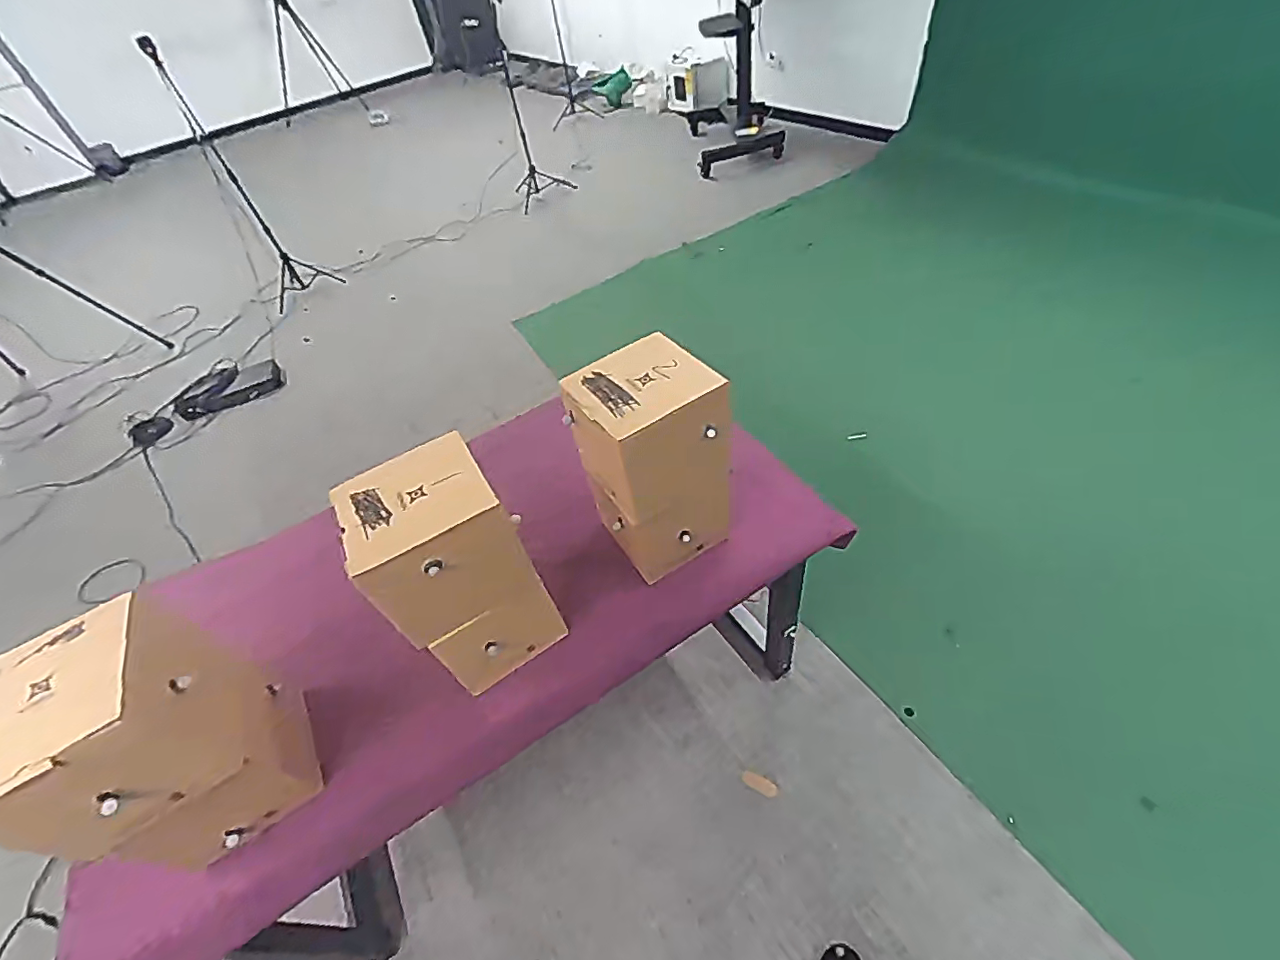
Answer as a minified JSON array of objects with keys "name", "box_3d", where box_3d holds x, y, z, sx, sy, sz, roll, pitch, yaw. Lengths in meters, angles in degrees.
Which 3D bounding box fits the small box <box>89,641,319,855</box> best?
[{"name":"small box","box_3d":[-0.566,0.358,0.721,0.168,0.176,0.179,-31,51,-16]}]

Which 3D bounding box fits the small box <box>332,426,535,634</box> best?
[{"name":"small box","box_3d":[-0.263,0.066,0.704,0.179,0.176,0.168,-28,48,-15]}]

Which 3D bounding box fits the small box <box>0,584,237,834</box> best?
[{"name":"small box","box_3d":[-0.582,0.255,0.594,0.168,0.176,0.179,-29,50,-16]}]

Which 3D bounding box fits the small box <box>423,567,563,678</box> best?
[{"name":"small box","box_3d":[-0.239,0.175,0.825,0.168,0.176,0.179,-31,49,-16]}]

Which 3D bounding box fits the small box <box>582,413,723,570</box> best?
[{"name":"small box","box_3d":[0.027,0.026,0.906,0.168,0.176,0.179,-28,48,-14]}]
